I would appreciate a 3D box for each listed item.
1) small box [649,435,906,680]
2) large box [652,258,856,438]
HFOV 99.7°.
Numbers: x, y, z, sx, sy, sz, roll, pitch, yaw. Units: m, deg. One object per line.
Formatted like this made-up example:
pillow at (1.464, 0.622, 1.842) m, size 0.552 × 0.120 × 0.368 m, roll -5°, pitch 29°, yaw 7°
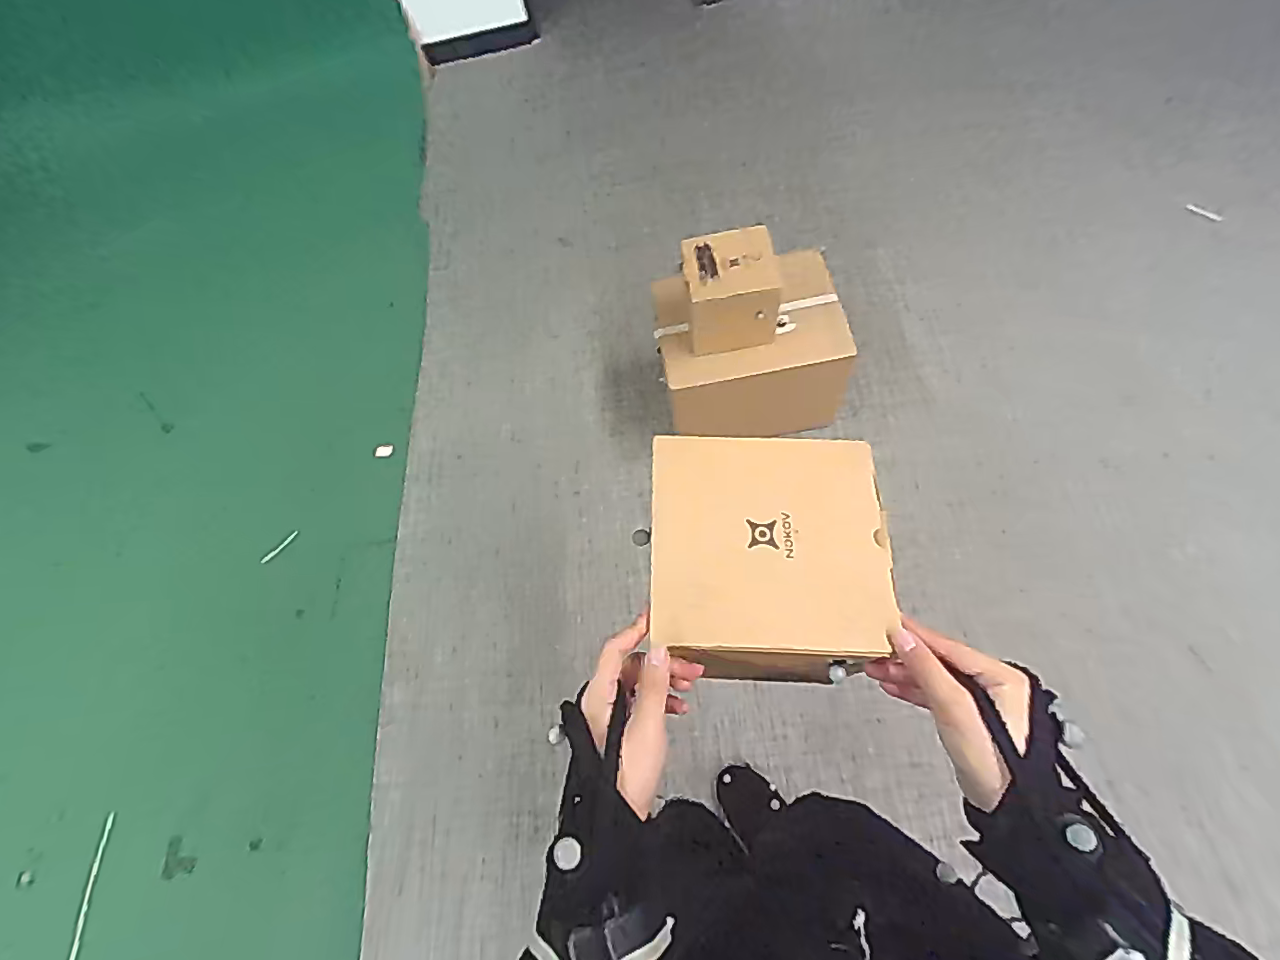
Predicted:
small box at (0.098, 0.076, 0.472) m, size 0.179 × 0.176 × 0.168 m, roll 2°, pitch 63°, yaw 1°
large box at (0.262, -0.289, 1.350) m, size 0.408 × 0.320 × 0.320 m, roll -10°, pitch 66°, yaw 3°
